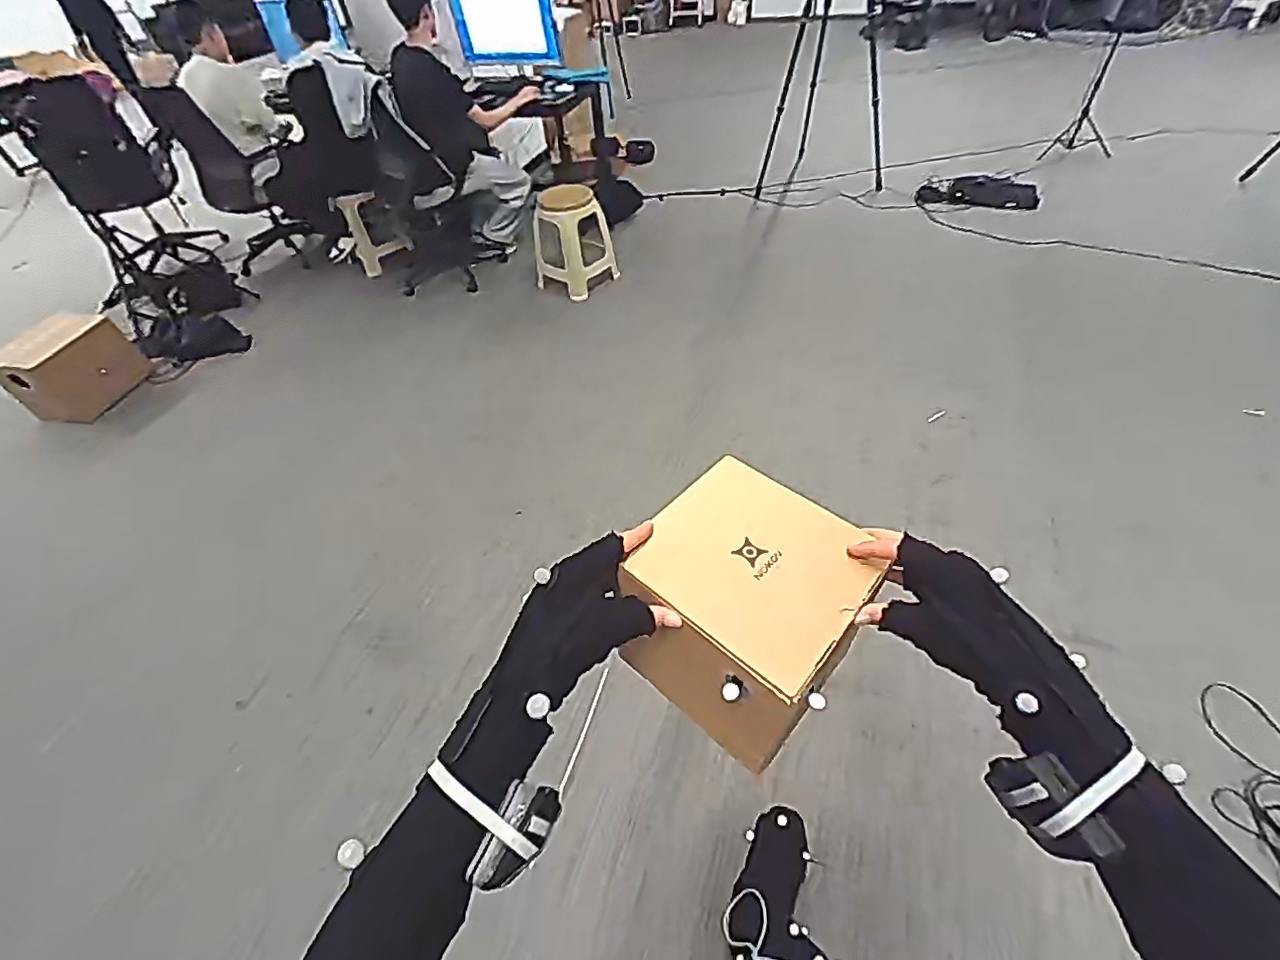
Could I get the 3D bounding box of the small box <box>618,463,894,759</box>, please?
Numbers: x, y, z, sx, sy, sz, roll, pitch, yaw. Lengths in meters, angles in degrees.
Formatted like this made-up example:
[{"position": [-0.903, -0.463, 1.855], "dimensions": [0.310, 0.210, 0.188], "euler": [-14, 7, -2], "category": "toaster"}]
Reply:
[{"position": [0.093, 0.121, 0.508], "dimensions": [0.179, 0.176, 0.168], "euler": [36, 54, 27], "category": "small box"}]
